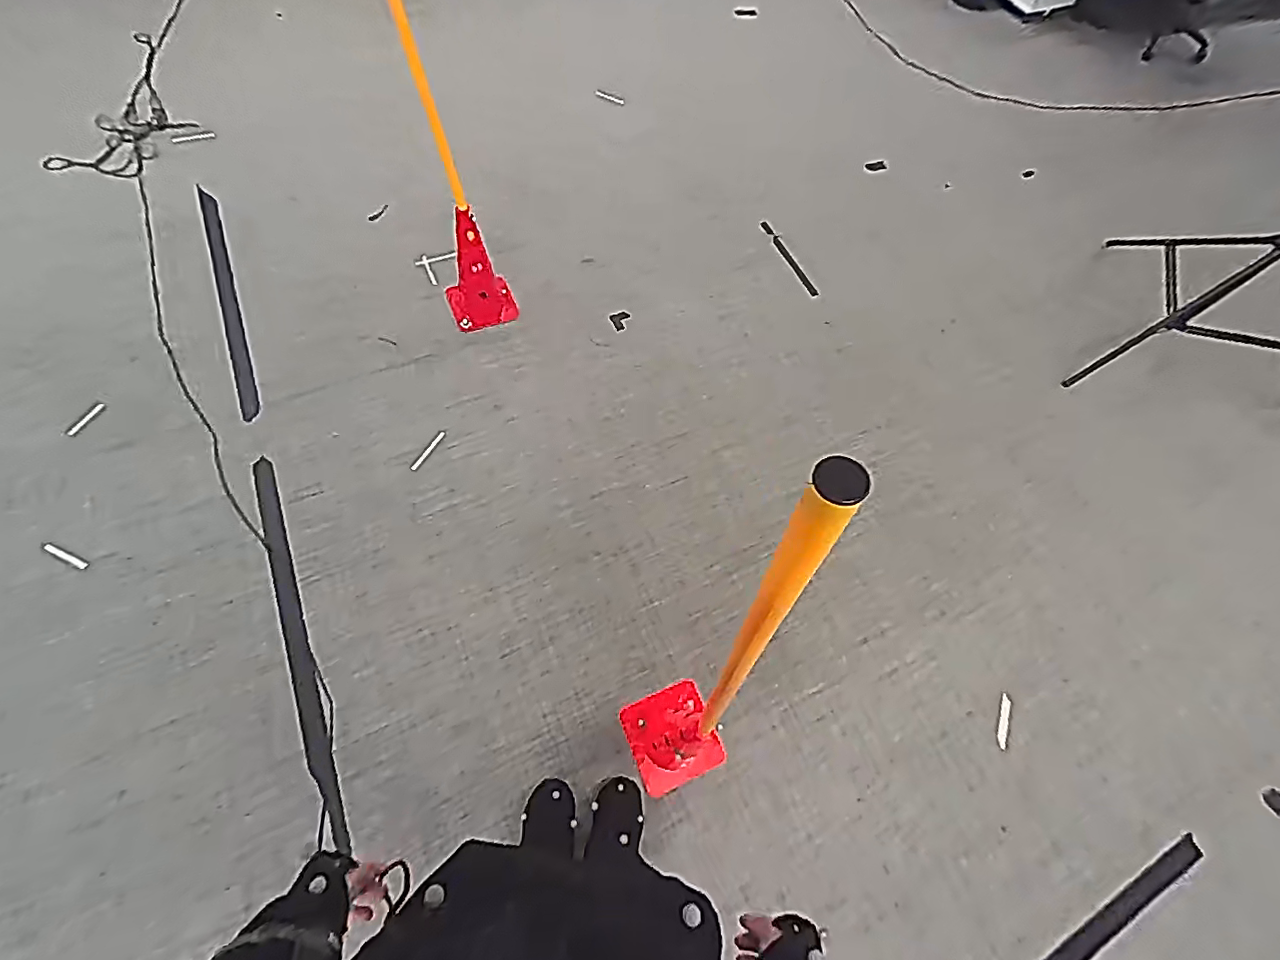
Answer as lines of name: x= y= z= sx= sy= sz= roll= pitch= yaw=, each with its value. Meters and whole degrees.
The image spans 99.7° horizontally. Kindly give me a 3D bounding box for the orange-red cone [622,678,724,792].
orange-red cone: x=0.094 y=0.508 z=1.095 sx=0.198 sy=0.360 sz=0.199 roll=-18 pitch=68 yaw=-14
